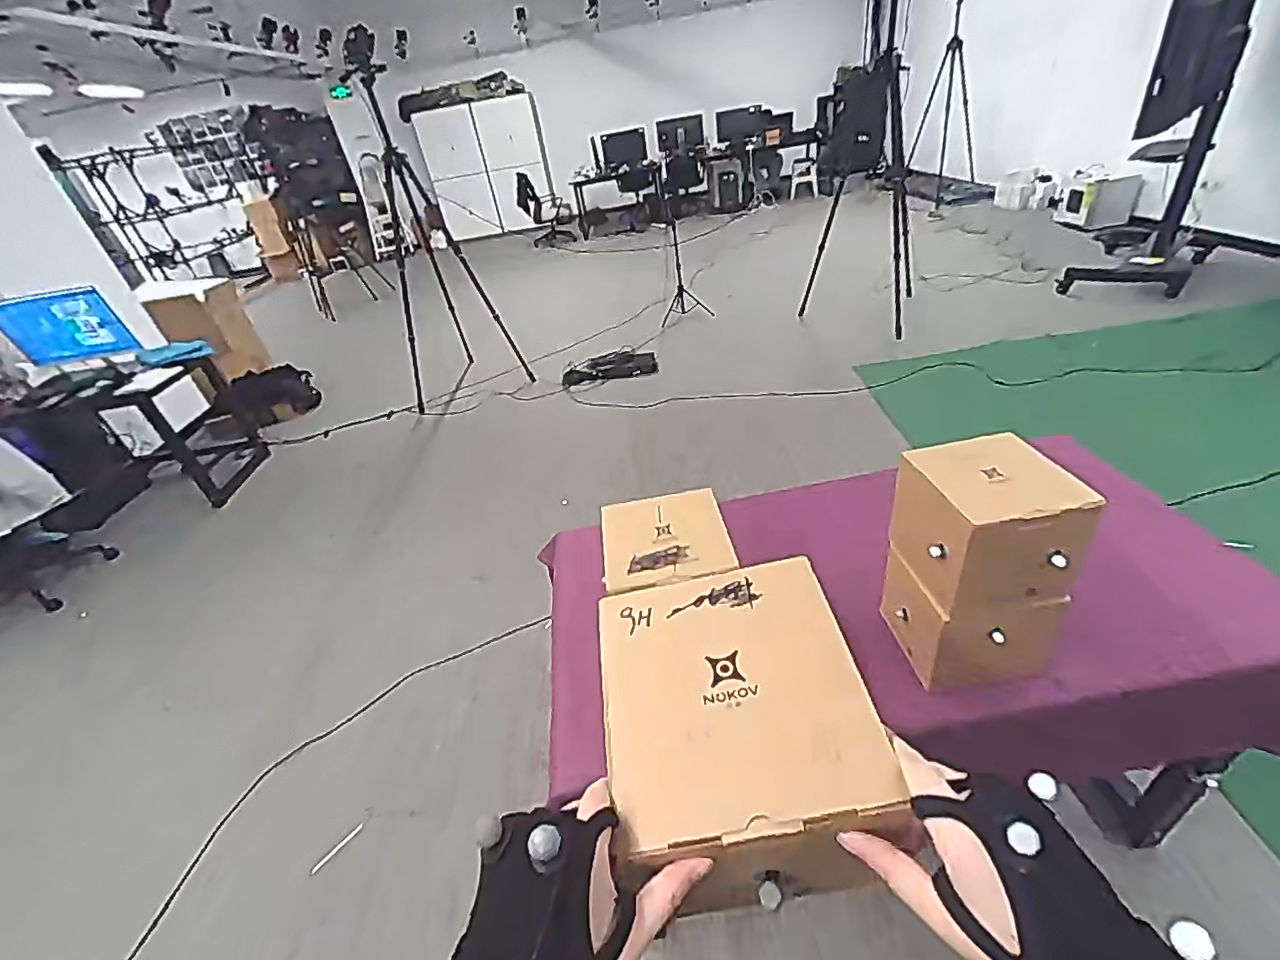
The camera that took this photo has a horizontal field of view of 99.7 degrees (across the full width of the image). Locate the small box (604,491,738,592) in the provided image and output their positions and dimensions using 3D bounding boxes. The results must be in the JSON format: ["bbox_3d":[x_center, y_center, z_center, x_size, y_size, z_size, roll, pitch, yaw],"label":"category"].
[{"bbox_3d":[0.046,0.143,0.762,0.168,0.176,0.179,-10,33,0],"label":"small box"}]

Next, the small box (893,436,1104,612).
[{"bbox_3d":[0.478,0.065,0.755,0.168,0.176,0.179,-10,34,0],"label":"small box"}]

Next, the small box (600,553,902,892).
[{"bbox_3d":[0.072,0.187,0.410,0.168,0.176,0.179,-12,42,3],"label":"small box"}]

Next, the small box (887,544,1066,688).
[{"bbox_3d":[0.503,0.201,0.843,0.179,0.176,0.168,-9,35,2],"label":"small box"}]
